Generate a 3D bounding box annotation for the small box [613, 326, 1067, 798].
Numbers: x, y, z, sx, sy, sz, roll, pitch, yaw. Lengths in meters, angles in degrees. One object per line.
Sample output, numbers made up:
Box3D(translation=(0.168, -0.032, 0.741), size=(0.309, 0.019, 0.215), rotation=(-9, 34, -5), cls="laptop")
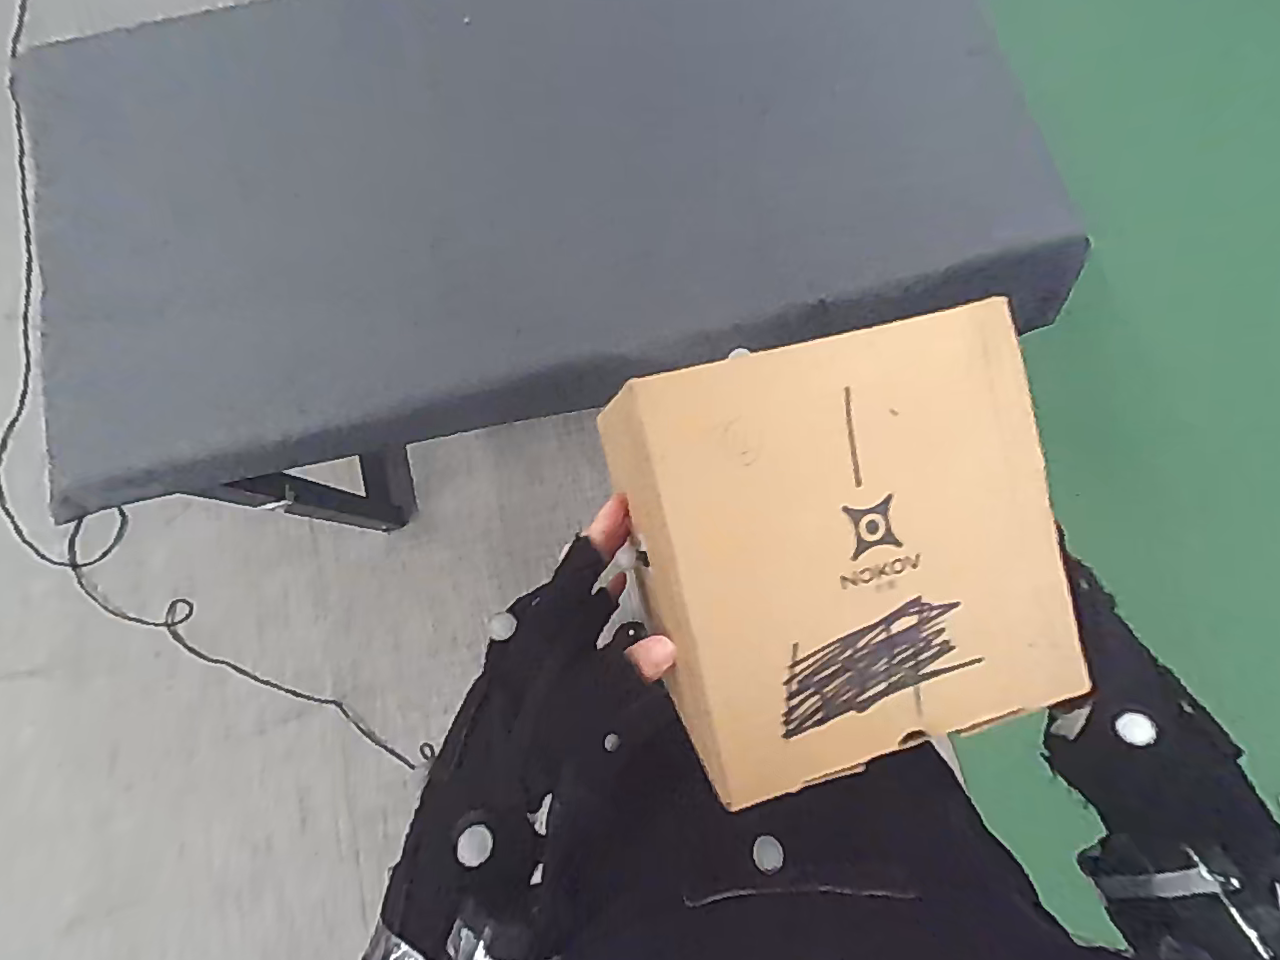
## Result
Box3D(translation=(0.086, 0.030, 0.309), size=(0.168, 0.176, 0.179), rotation=(-13, 93, -8), cls="small box")
